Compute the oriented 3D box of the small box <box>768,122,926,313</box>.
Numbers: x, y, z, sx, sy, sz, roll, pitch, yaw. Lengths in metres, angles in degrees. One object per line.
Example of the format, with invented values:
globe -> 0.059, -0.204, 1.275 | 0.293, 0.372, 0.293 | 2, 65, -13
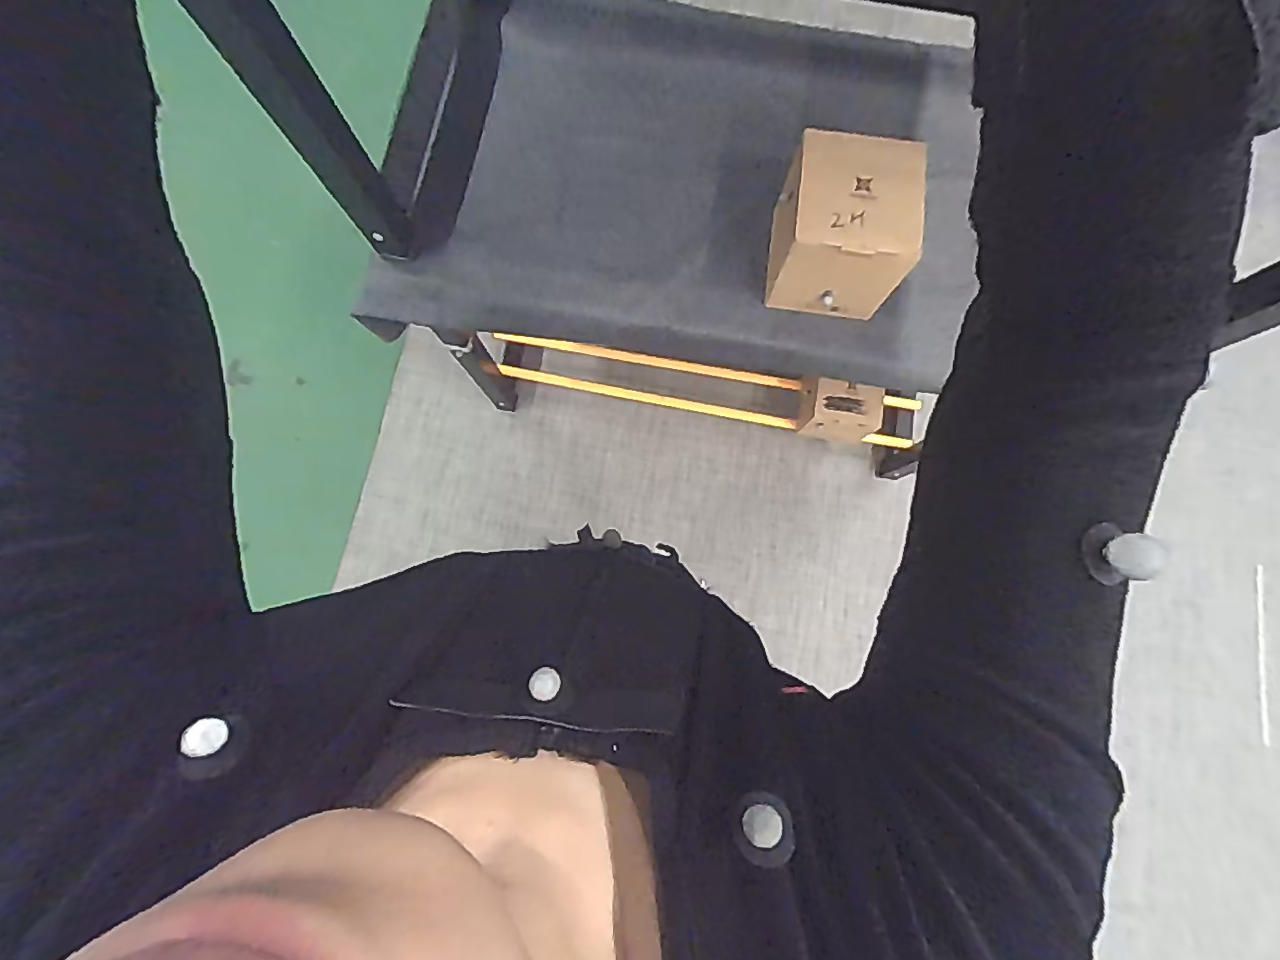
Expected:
small box -> 0.292, -0.373, 0.791 | 0.168, 0.176, 0.179 | 8, 79, 1
